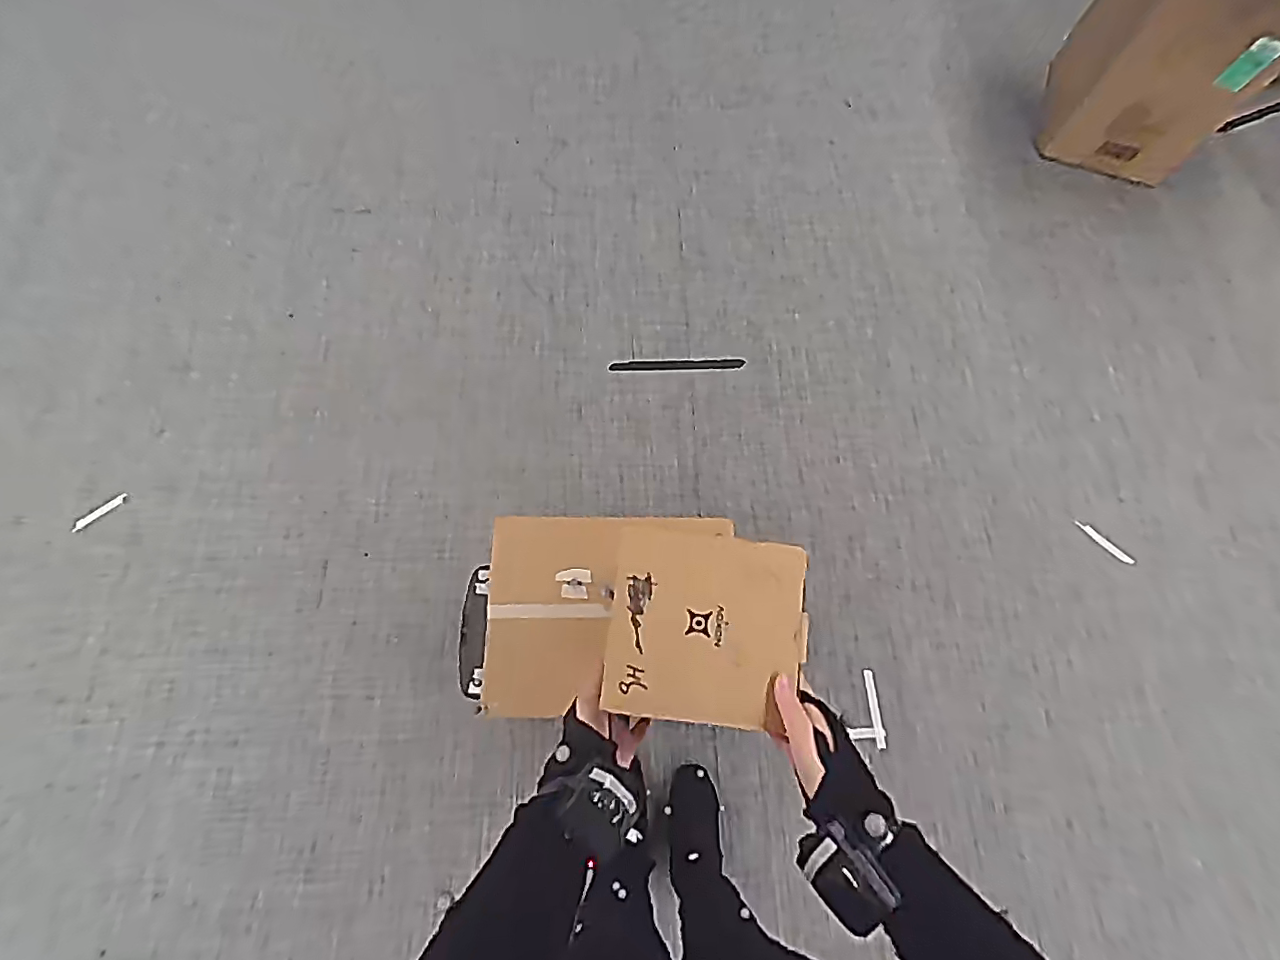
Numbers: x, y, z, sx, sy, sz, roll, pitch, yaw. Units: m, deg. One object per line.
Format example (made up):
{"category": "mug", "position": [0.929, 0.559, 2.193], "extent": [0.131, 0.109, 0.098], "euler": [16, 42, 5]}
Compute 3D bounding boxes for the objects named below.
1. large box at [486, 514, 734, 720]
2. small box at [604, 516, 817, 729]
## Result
{"category": "large box", "position": [-0.036, 0.254, 0.998], "extent": [0.408, 0.320, 0.320], "euler": [0, 71, -1]}
{"category": "small box", "position": [0.061, 0.140, 0.551], "extent": [0.179, 0.176, 0.168], "euler": [8, 76, -2]}
